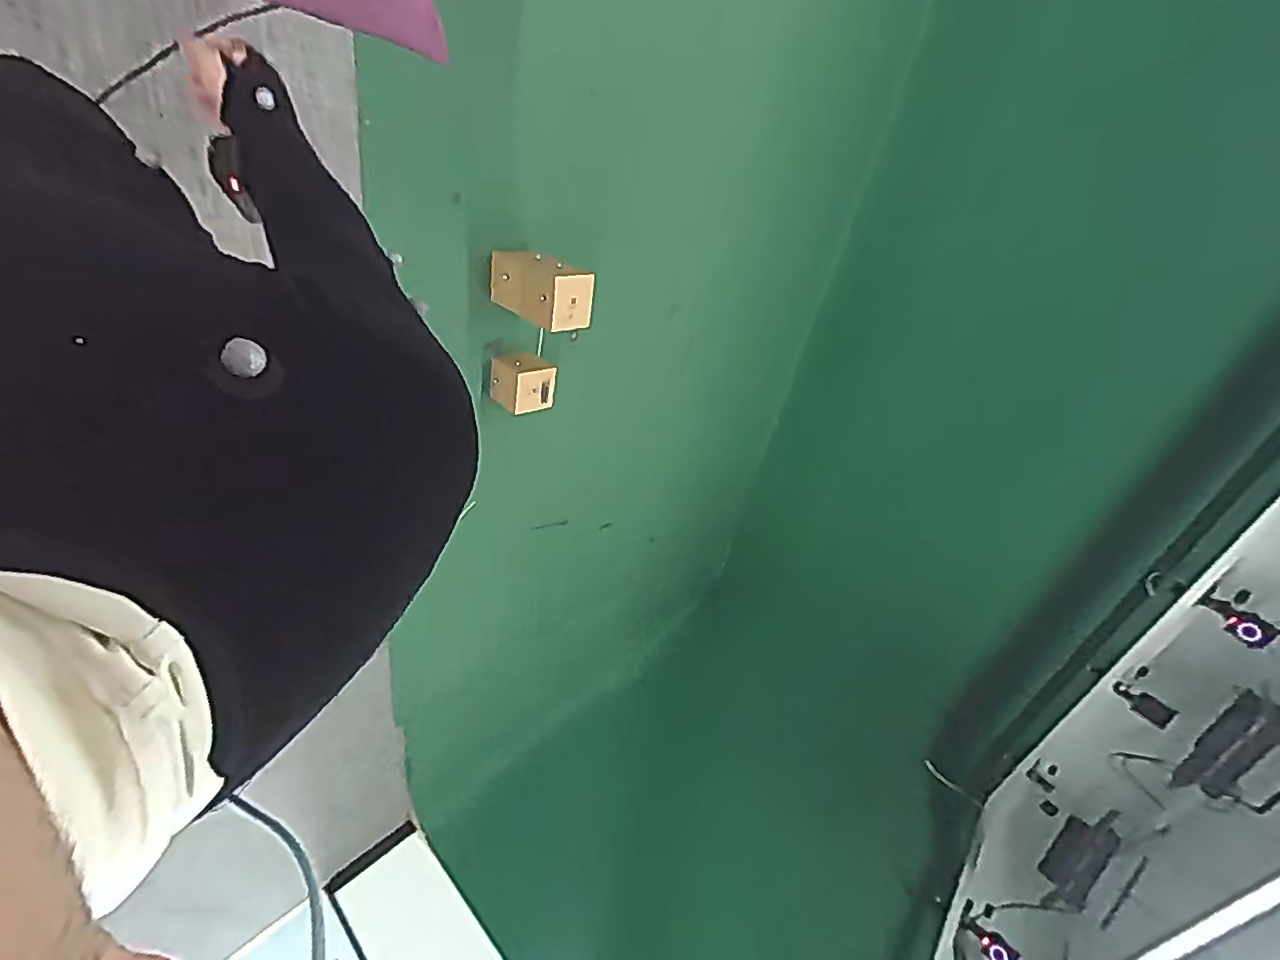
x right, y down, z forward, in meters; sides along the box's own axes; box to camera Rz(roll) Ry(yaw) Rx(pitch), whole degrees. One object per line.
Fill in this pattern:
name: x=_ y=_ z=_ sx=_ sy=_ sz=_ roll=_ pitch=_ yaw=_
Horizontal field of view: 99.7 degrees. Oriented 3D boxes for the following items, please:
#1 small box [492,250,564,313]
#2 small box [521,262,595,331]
small box: x=-0.385 y=-0.678 z=1.841 sx=0.179 sy=0.176 sz=0.168 roll=-25 pitch=136 yaw=-43
small box: x=-0.269 y=-0.602 z=1.752 sx=0.168 sy=0.176 sz=0.179 roll=-24 pitch=136 yaw=-43
